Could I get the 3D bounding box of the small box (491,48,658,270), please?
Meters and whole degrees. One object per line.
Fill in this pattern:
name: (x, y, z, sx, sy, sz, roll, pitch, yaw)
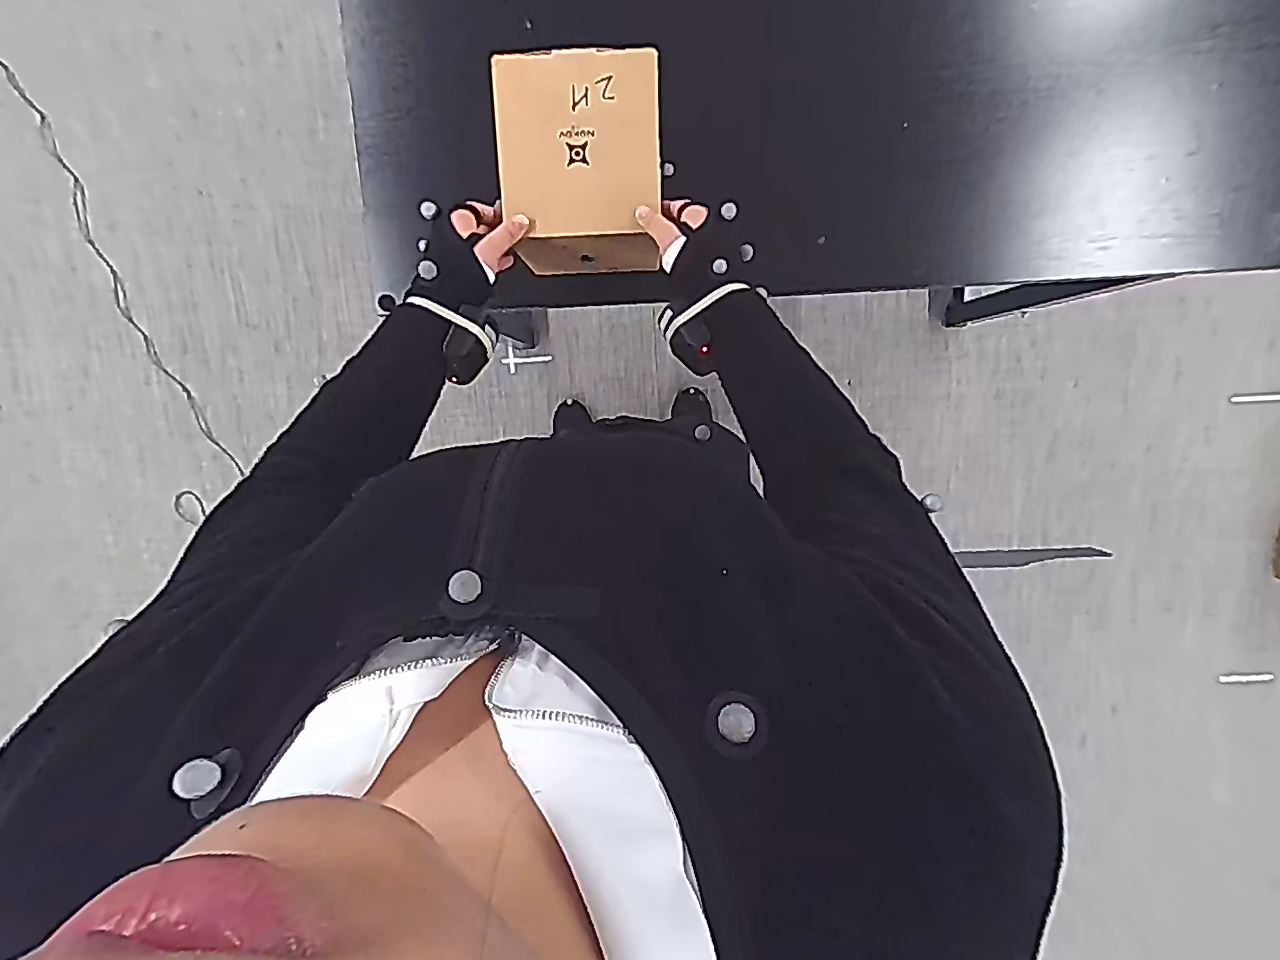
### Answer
small box: (-0.063, -0.350, 0.627, 0.168, 0.176, 0.179, -2, 98, 1)
